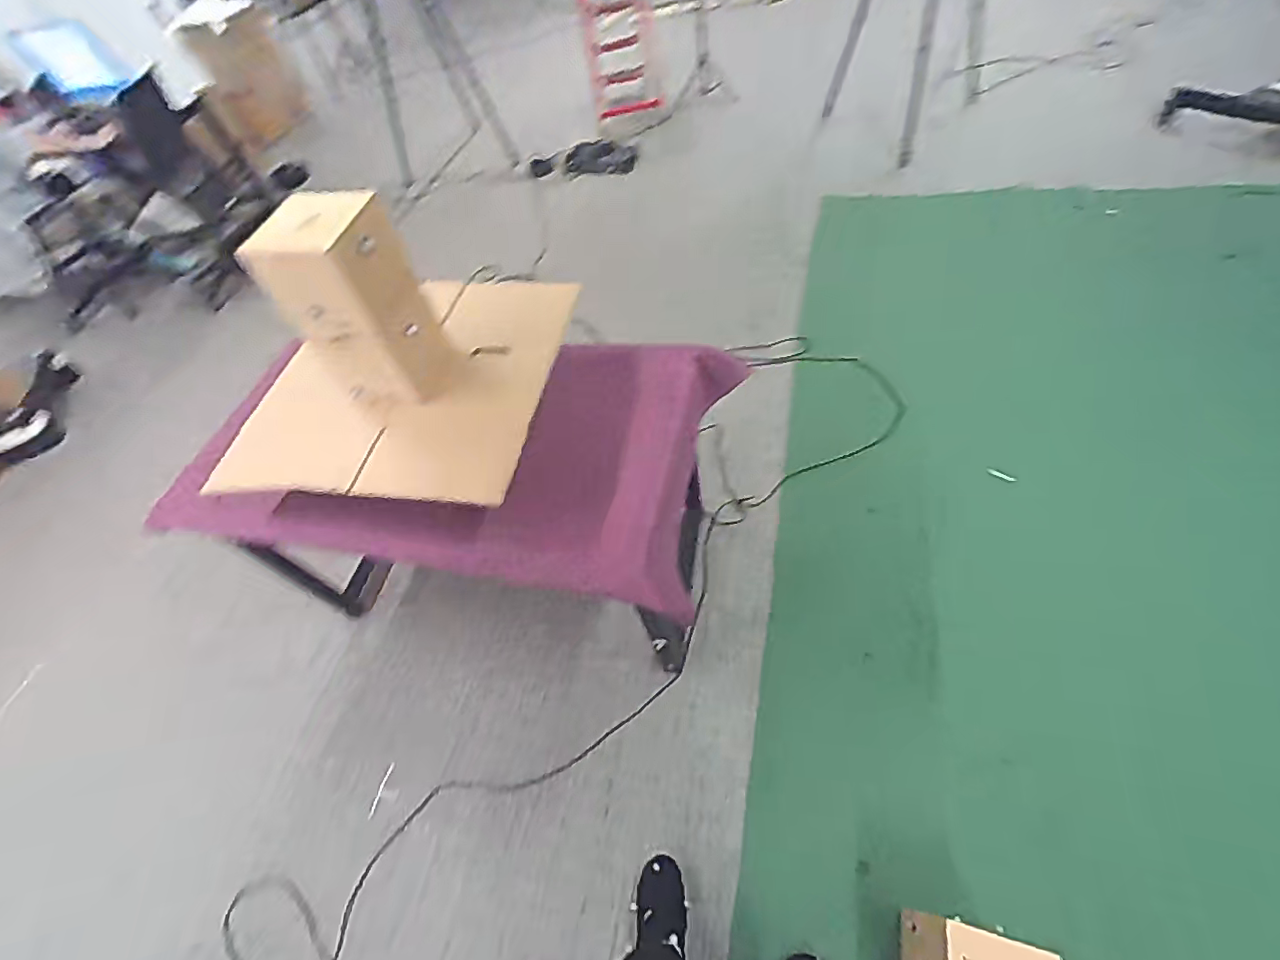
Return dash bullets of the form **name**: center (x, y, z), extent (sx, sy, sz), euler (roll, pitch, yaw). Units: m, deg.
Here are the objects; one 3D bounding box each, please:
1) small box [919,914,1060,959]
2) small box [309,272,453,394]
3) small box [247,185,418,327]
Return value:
- **small box**: center (0.600, 0.881, 0.934), extent (0.179, 0.176, 0.168), euler (9, 57, 17)
- **small box**: center (-0.498, -0.289, 1.073), extent (0.168, 0.176, 0.179), euler (5, 55, 11)
- **small box**: center (-0.518, -0.389, 0.946), extent (0.168, 0.176, 0.179), euler (4, 57, 11)
